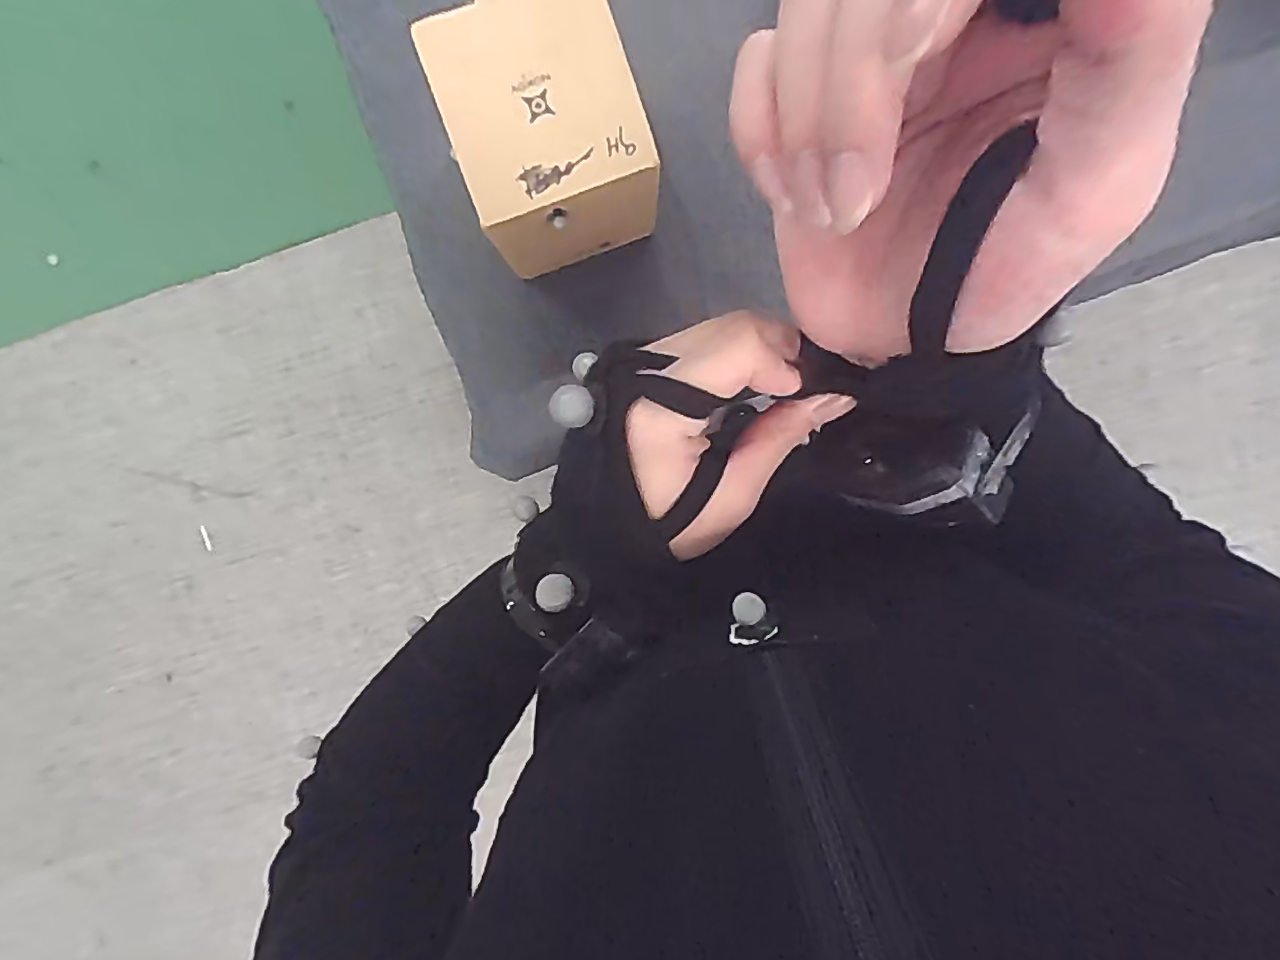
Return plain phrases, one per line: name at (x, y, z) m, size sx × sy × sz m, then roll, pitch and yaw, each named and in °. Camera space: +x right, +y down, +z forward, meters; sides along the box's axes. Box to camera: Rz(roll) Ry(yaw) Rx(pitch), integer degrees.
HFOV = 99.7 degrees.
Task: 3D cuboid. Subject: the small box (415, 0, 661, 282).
small box at (-0.086, -0.325, 0.535) m, size 0.168 × 0.176 × 0.179 m, roll -20°, pitch 95°, yaw 2°
